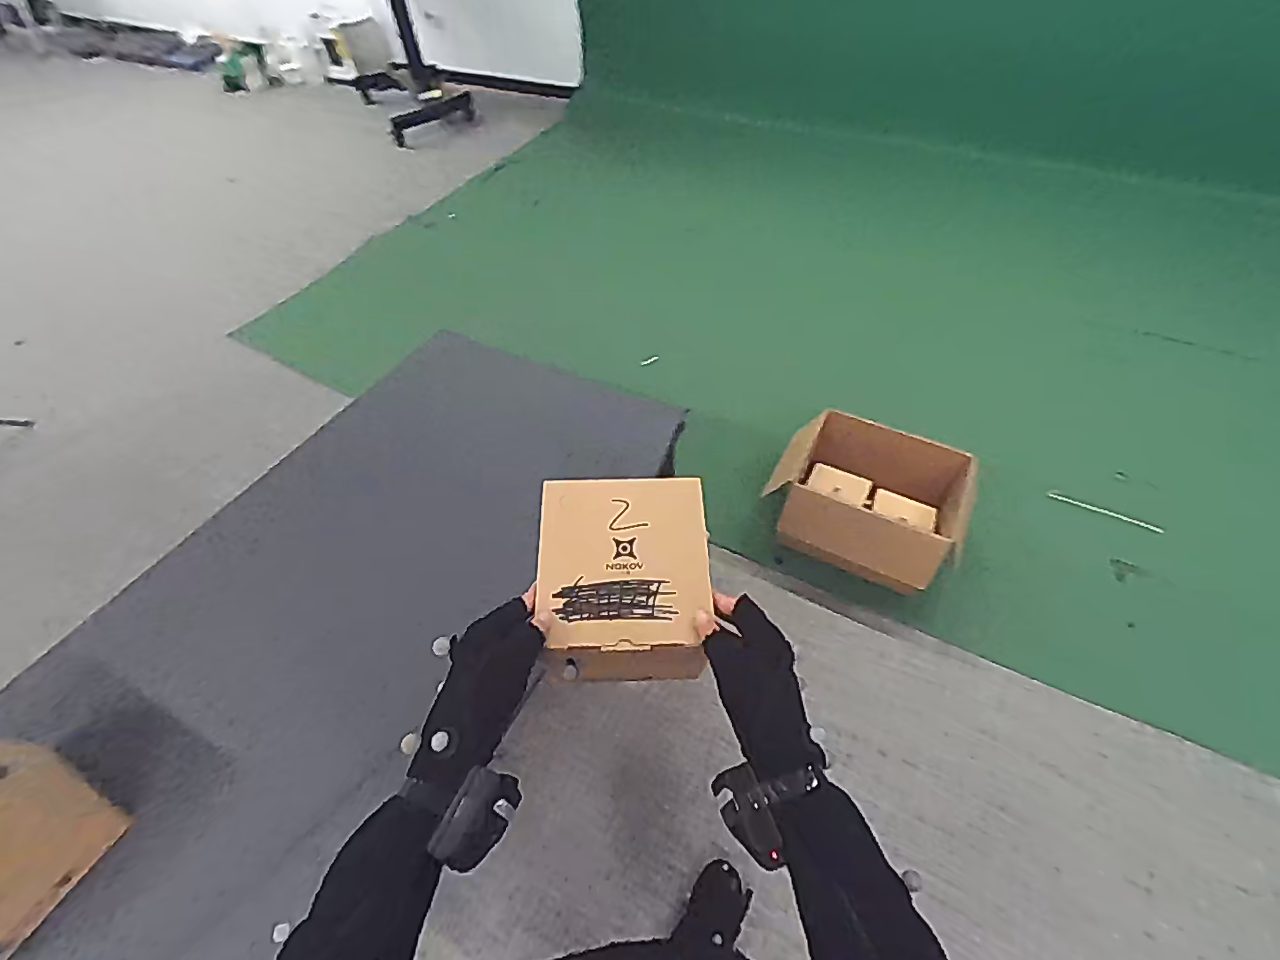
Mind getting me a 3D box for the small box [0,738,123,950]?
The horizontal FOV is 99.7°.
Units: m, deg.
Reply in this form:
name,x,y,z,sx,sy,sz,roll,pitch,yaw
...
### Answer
name,x,y,z,sx,sy,sz,roll,pitch,yaw
small box,-0.709,0.375,0.553,0.179,0.176,0.168,21,56,18
